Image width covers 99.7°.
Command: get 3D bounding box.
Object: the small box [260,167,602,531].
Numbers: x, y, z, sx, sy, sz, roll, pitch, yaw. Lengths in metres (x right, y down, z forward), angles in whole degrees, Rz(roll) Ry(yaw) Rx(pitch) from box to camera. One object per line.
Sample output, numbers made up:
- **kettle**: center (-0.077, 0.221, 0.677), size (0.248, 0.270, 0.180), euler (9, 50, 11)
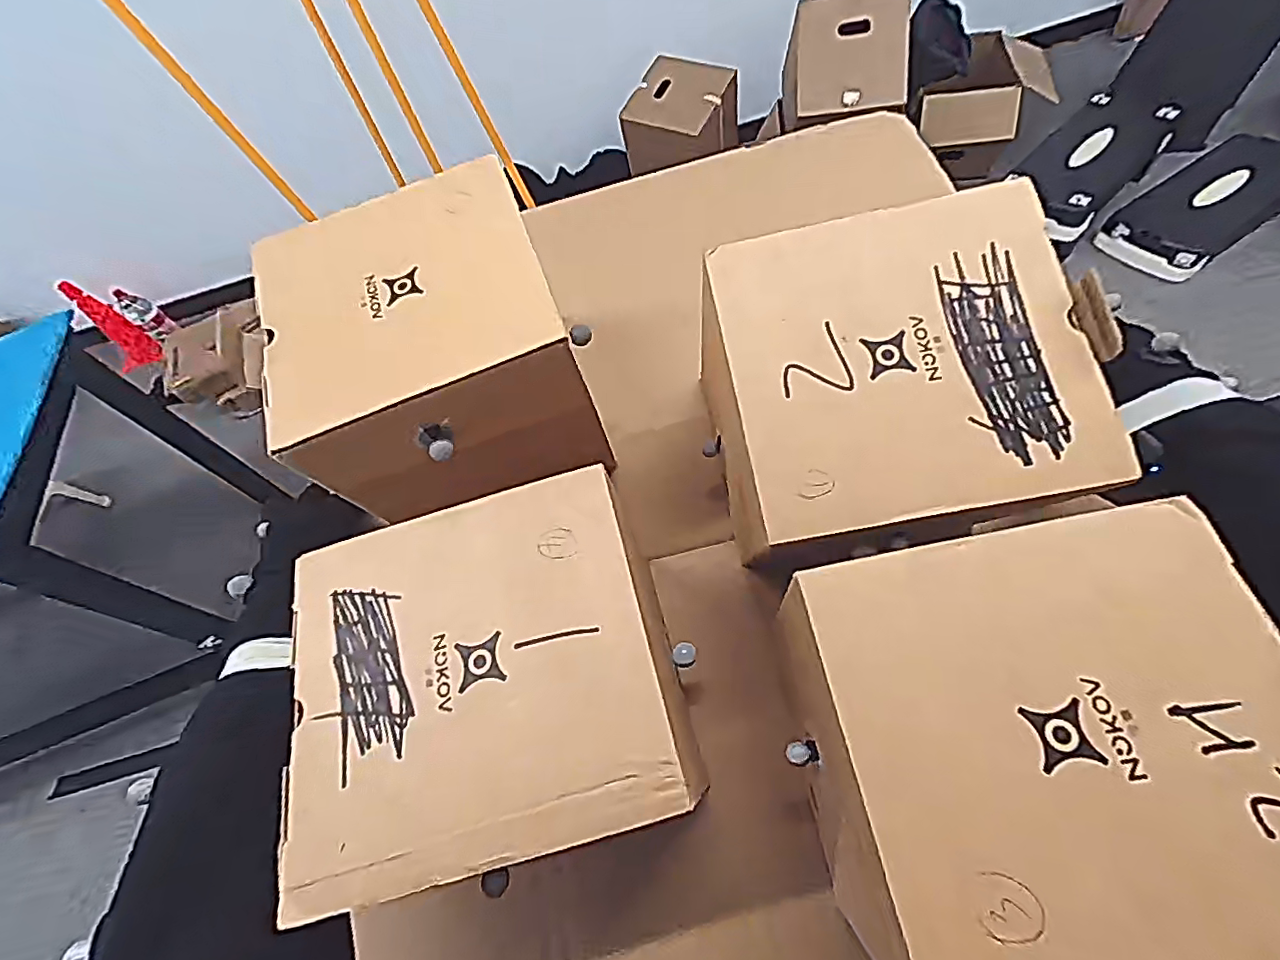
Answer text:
- **small box**: center (-0.138, -0.083, 0.407), size (0.179, 0.176, 0.168), euler (-22, 66, 0)
